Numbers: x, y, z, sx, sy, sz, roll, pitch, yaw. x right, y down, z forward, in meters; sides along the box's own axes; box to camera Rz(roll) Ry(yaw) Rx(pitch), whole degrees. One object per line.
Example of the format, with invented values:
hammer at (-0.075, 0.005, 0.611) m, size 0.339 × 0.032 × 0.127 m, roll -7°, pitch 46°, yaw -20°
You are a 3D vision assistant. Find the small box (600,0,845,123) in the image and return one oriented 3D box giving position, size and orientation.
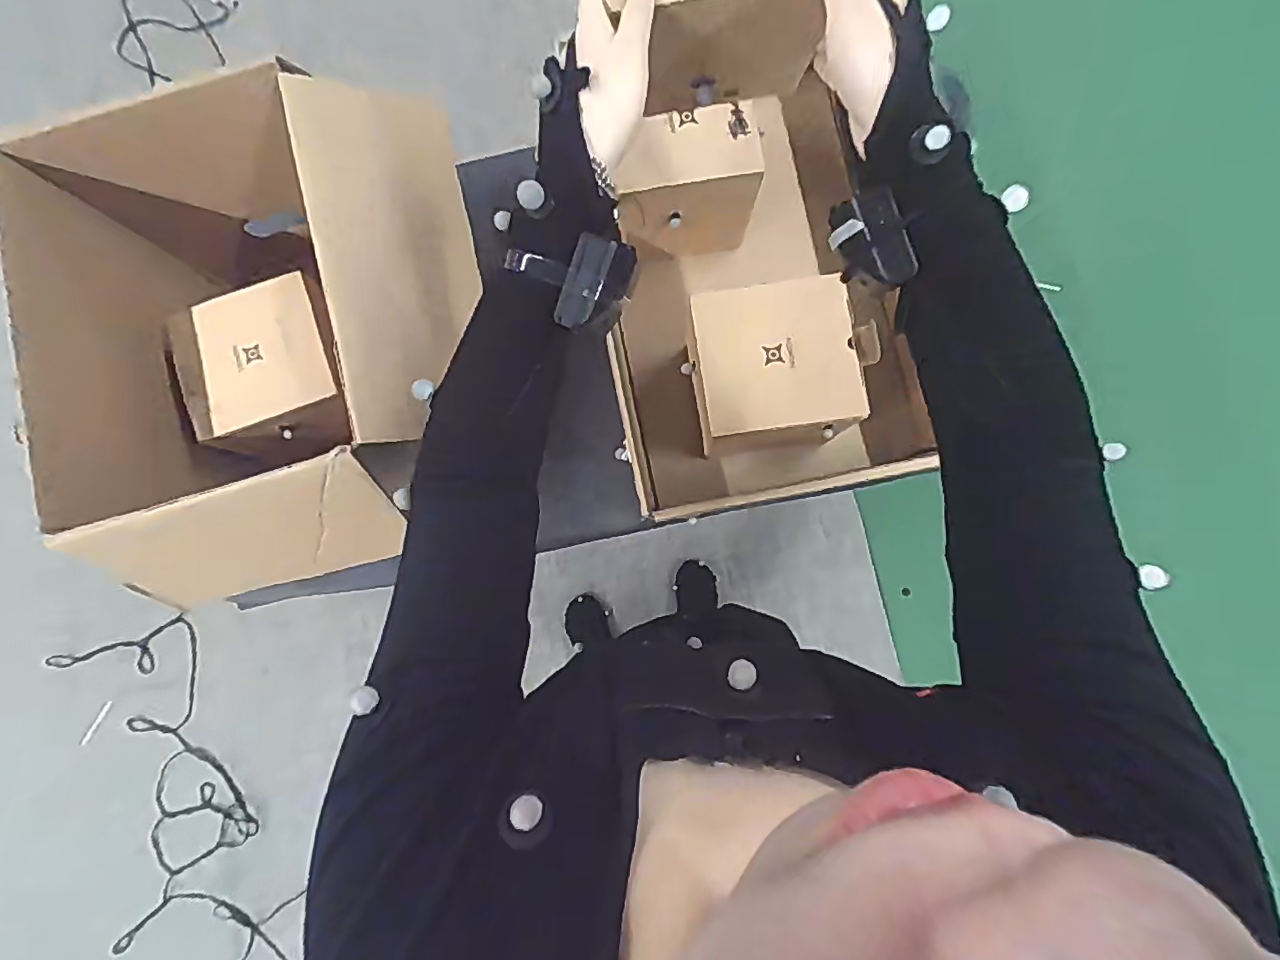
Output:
small box at (0.048, -0.409, 0.406) m, size 0.168 × 0.176 × 0.179 m, roll -8°, pitch 103°, yaw 3°
